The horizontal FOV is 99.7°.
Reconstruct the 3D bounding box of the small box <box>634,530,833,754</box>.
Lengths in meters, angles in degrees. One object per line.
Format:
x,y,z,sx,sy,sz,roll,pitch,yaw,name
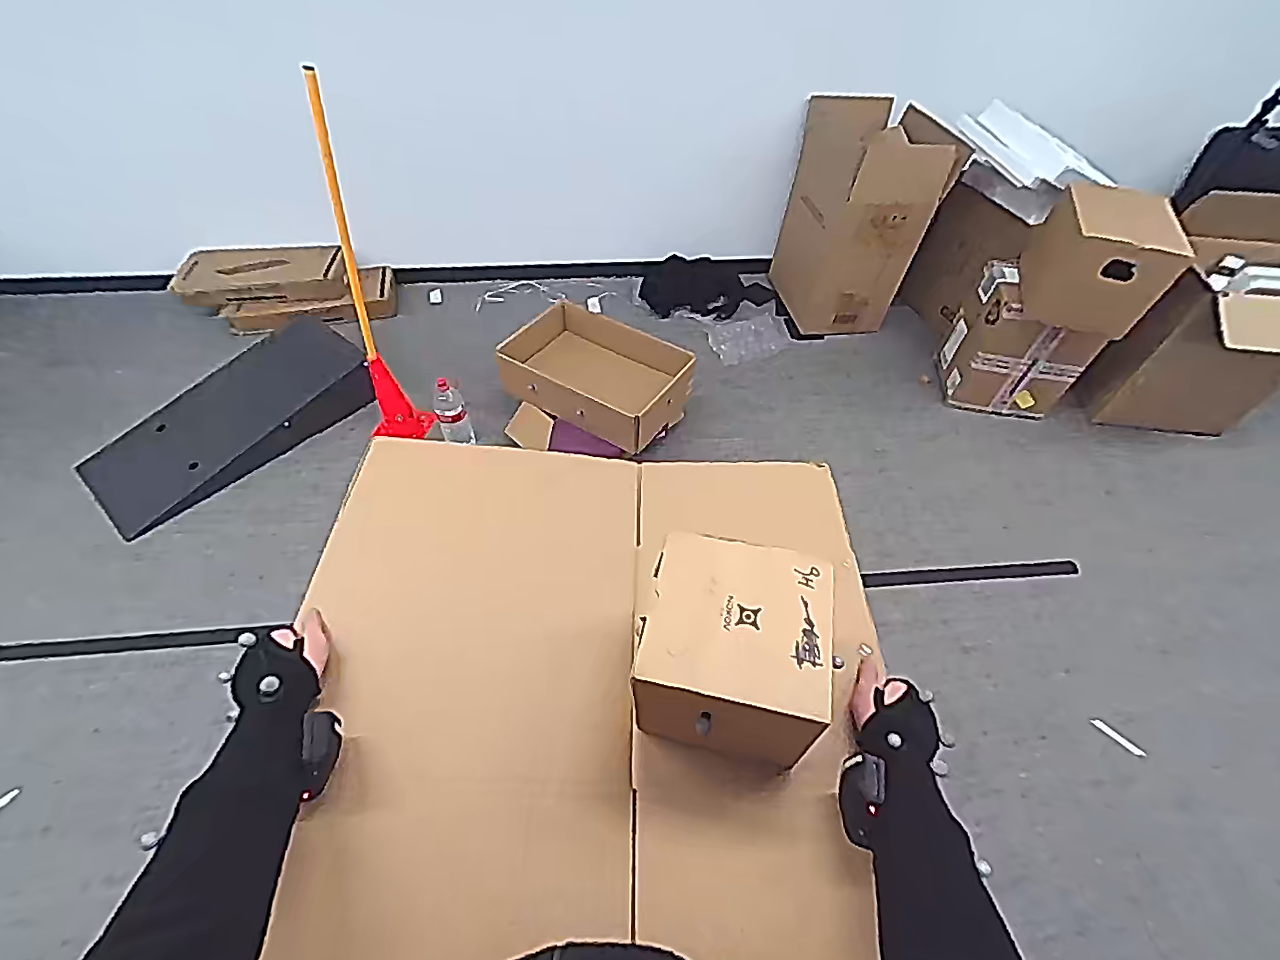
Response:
0.101,0.178,0.587,0.179,0.176,0.168,9,52,11,small box
